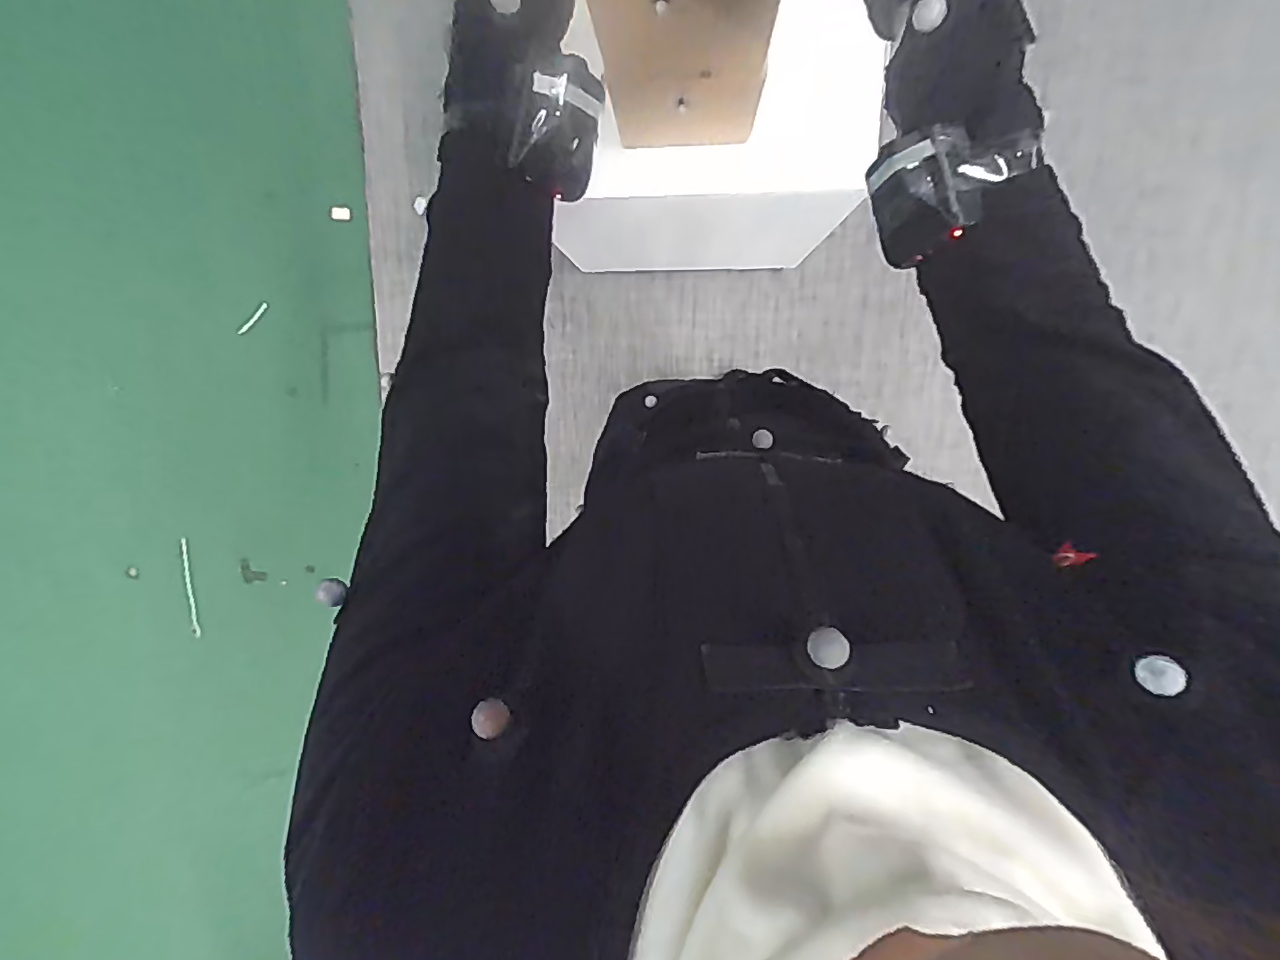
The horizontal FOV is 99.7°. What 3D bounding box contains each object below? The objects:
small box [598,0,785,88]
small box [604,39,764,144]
[{"bbox_3d":[0.043,-0.501,0.494,0.168,0.176,0.179,-1,102,4],"label":"small box"},{"bbox_3d":[0.054,-0.528,0.652,0.179,0.176,0.168,0,102,4],"label":"small box"}]
